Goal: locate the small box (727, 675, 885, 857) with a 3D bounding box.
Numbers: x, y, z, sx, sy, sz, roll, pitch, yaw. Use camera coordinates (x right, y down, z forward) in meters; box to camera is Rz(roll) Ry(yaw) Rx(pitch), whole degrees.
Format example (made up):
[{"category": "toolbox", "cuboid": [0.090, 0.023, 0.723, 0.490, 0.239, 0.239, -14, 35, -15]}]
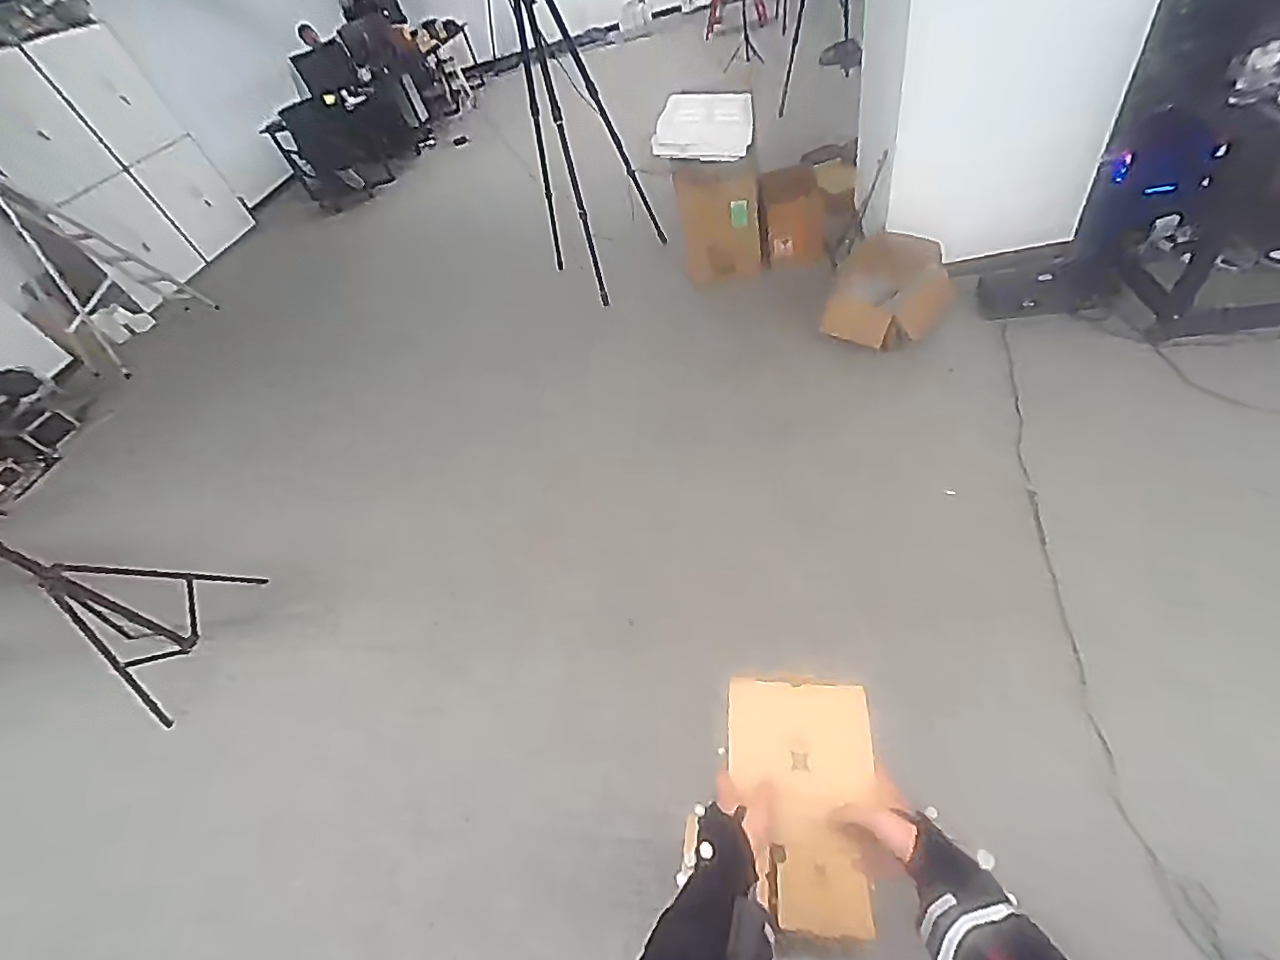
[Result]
[{"category": "small box", "cuboid": [0.197, 0.366, 0.691, 0.168, 0.176, 0.179, 0, 56, 10]}]
